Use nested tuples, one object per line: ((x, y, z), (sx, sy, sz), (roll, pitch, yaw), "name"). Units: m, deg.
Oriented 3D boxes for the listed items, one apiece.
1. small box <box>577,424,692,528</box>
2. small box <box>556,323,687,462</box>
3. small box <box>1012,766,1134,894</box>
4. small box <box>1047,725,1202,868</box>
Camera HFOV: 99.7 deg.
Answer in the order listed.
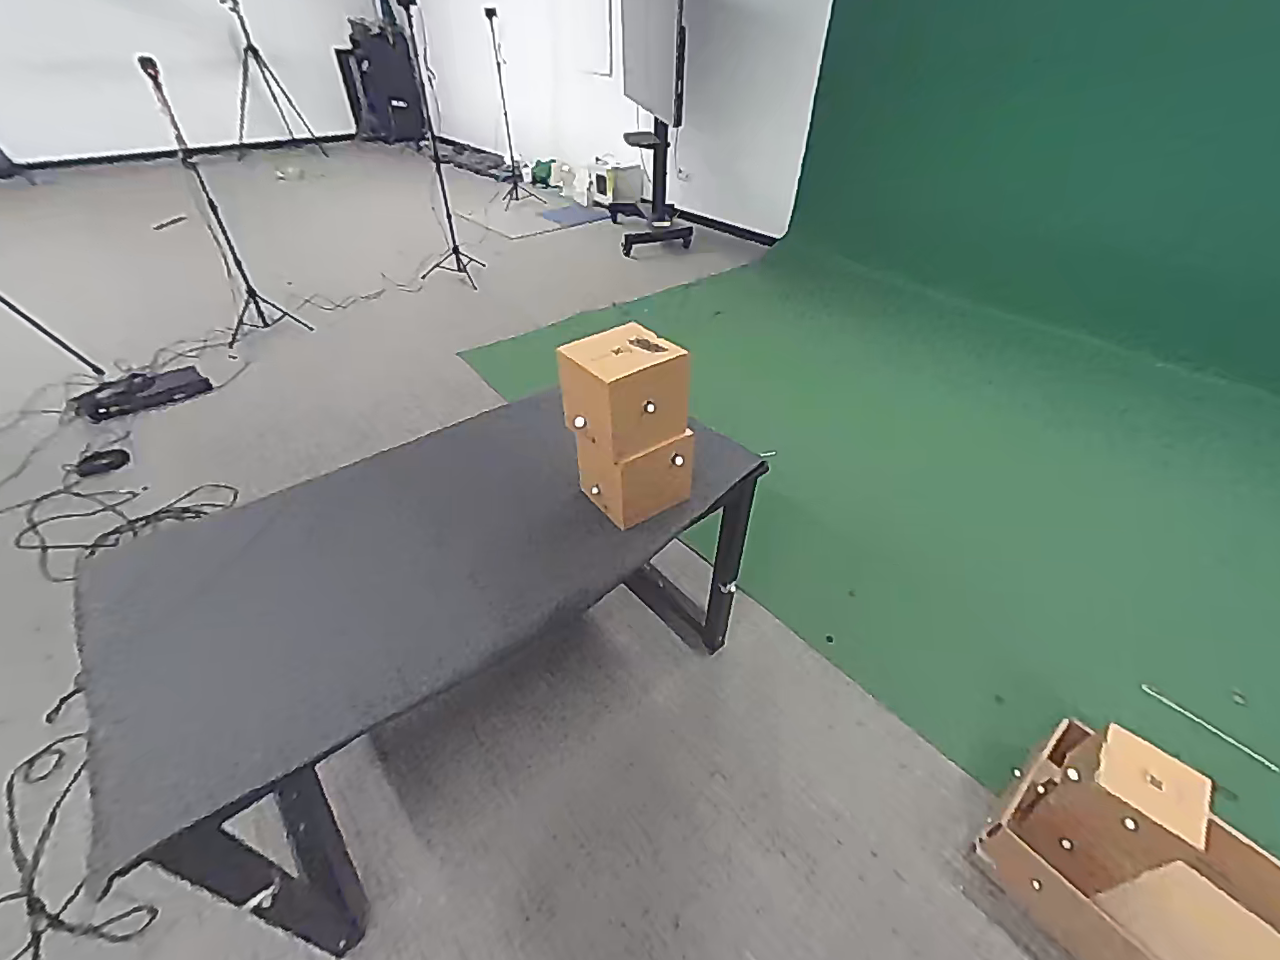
((-0.017, -0.035, 1.094), (0.179, 0.176, 0.168), (-25, 45, -27), "small box")
((-0.034, -0.162, 0.990), (0.179, 0.176, 0.168), (-27, 46, -27), "small box")
((0.995, 0.786, 1.228), (0.168, 0.176, 0.179), (-27, 48, -28), "small box")
((0.996, 0.659, 1.123), (0.179, 0.176, 0.168), (33, 51, 28), "small box")
